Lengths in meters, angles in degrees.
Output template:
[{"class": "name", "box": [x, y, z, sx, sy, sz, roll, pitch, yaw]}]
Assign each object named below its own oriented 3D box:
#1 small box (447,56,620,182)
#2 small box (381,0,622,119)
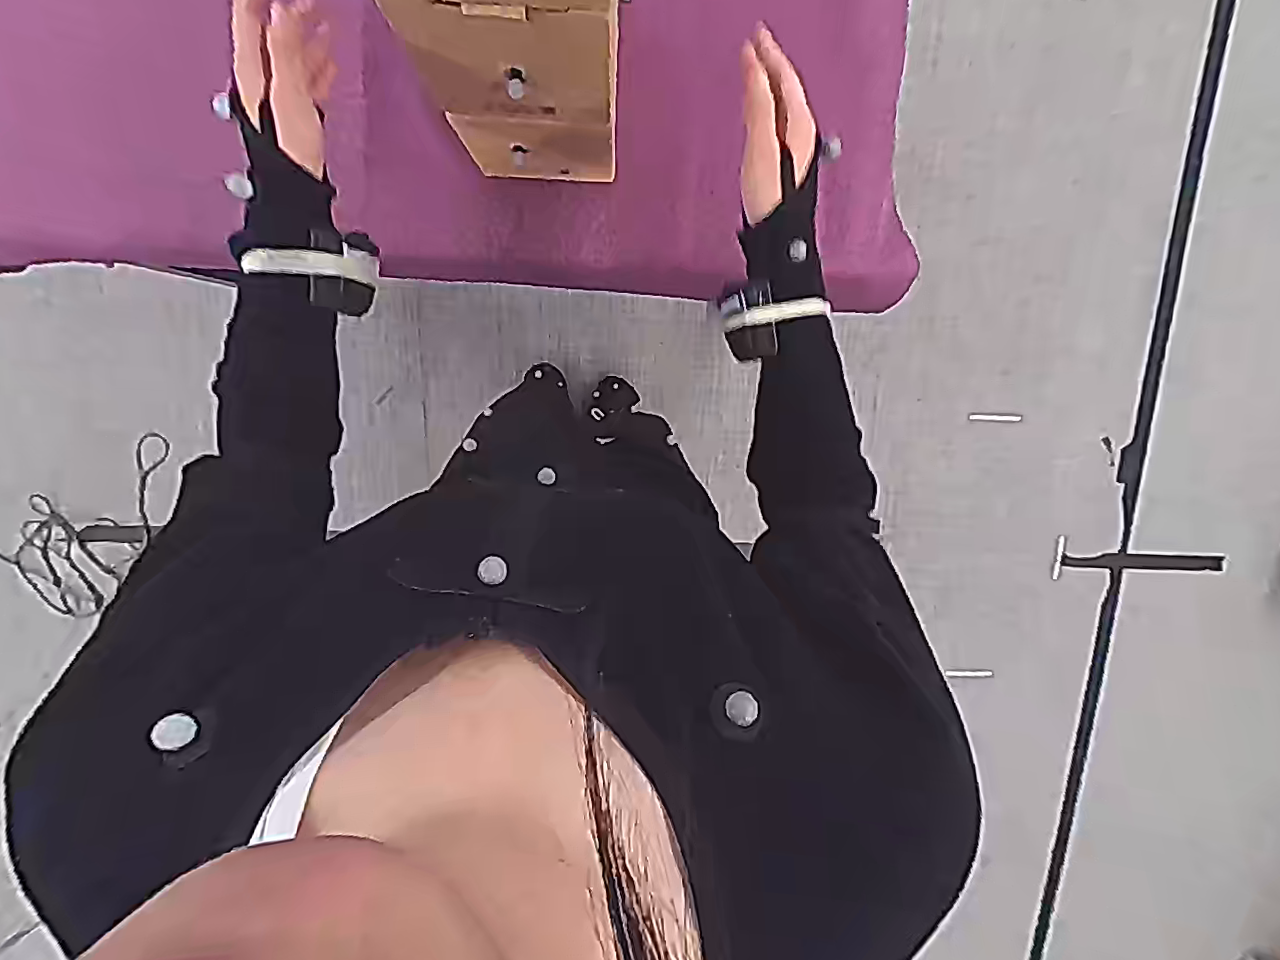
[{"class": "small box", "box": [-0.107, -0.451, 0.598, 0.168, 0.176, 0.179, 1, 100, -3]}, {"class": "small box", "box": [-0.098, -0.424, 0.437, 0.168, 0.176, 0.179, 2, 101, -3]}]
